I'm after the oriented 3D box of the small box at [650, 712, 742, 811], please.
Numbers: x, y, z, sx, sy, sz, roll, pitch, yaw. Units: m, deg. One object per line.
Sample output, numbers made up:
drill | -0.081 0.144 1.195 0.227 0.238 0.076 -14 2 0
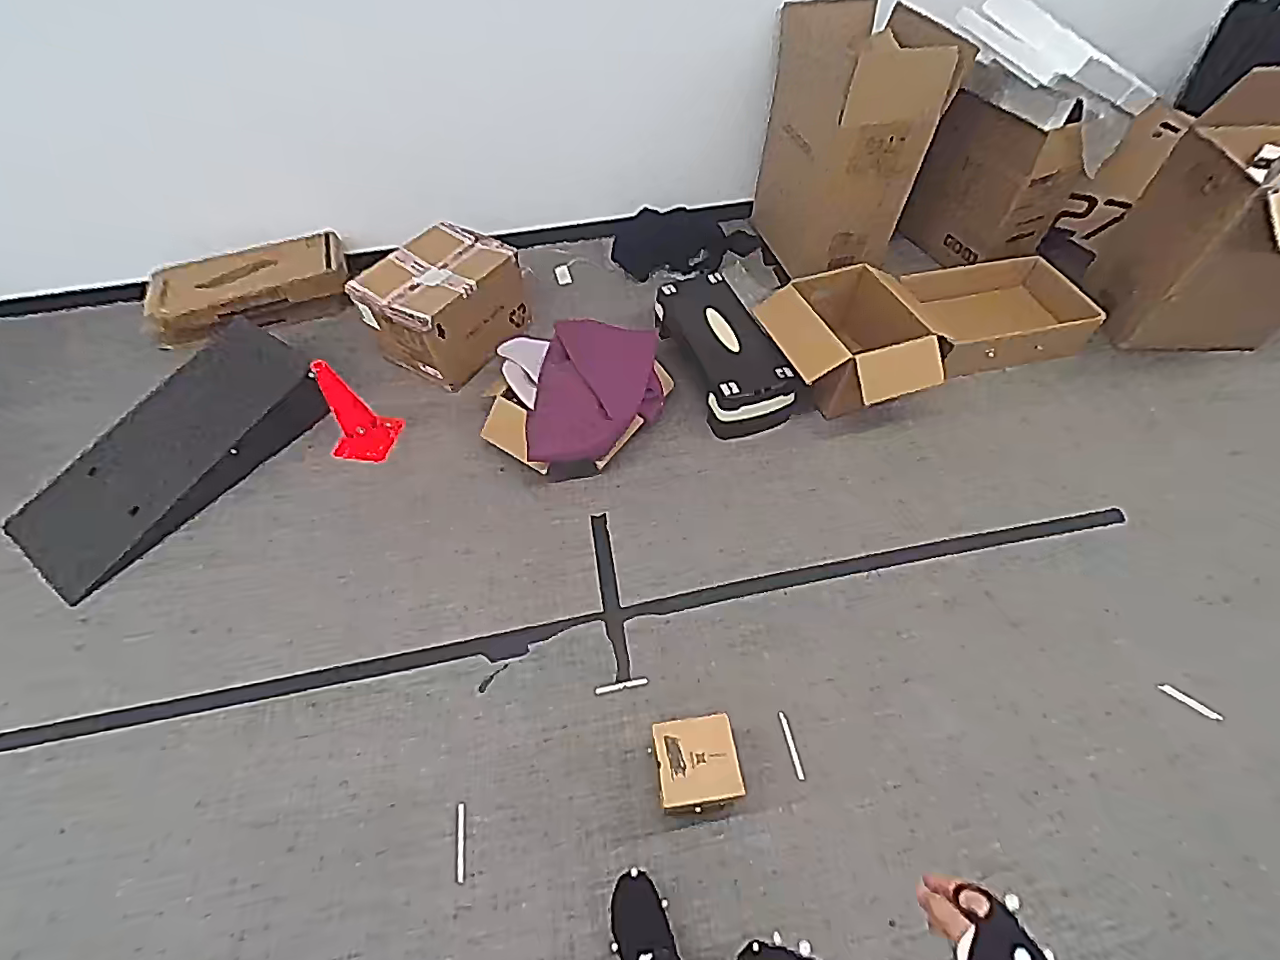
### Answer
small box | 0.120 0.646 1.235 0.179 0.176 0.168 -7 55 -4
